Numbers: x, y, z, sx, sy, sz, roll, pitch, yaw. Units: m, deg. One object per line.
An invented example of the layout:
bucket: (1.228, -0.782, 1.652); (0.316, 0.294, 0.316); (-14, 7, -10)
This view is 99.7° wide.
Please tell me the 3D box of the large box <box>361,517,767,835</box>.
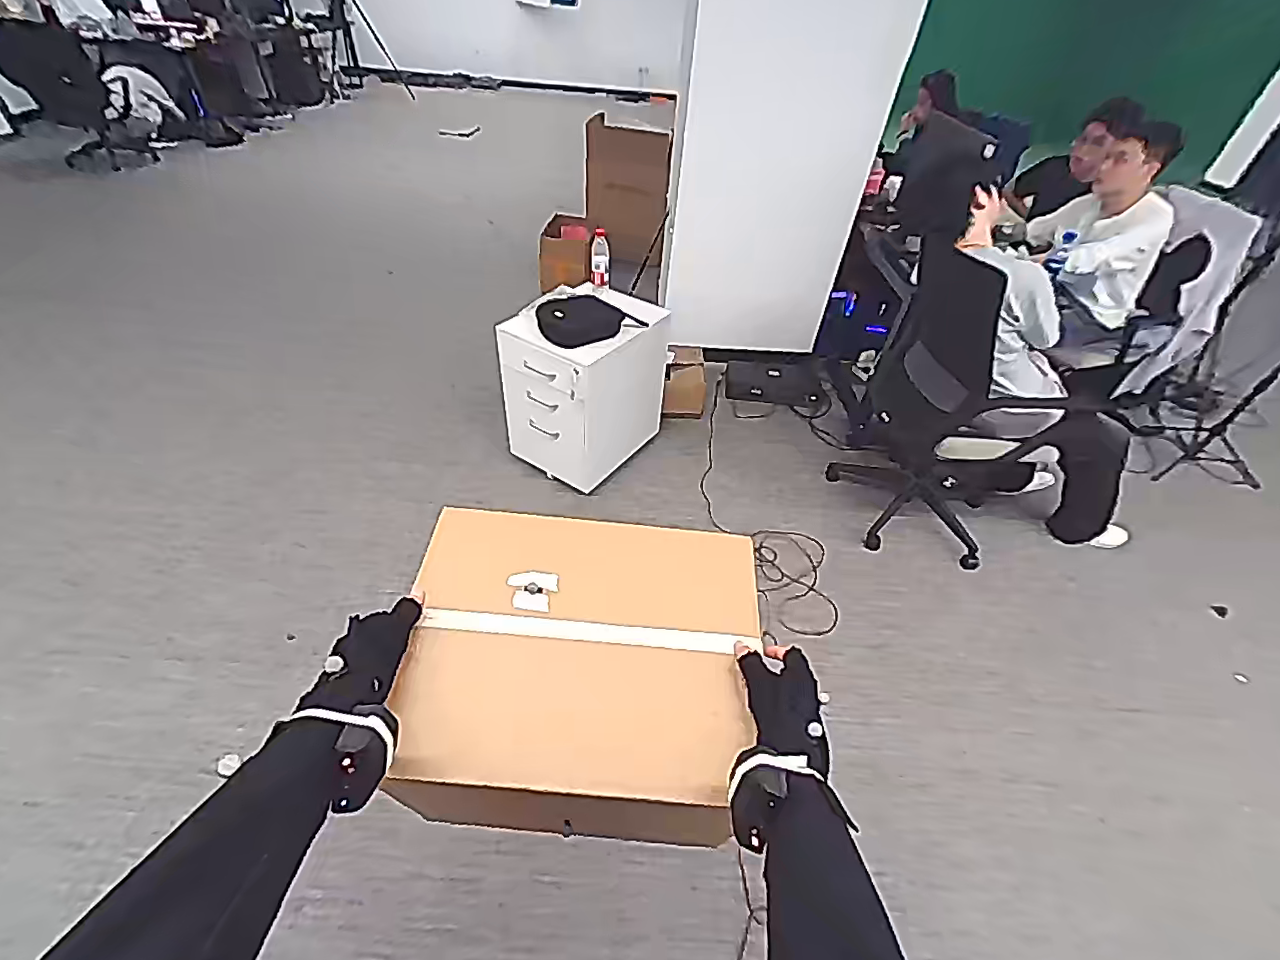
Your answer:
large box: (-0.073, 0.274, 0.731); (0.408, 0.320, 0.320); (5, 50, -1)
